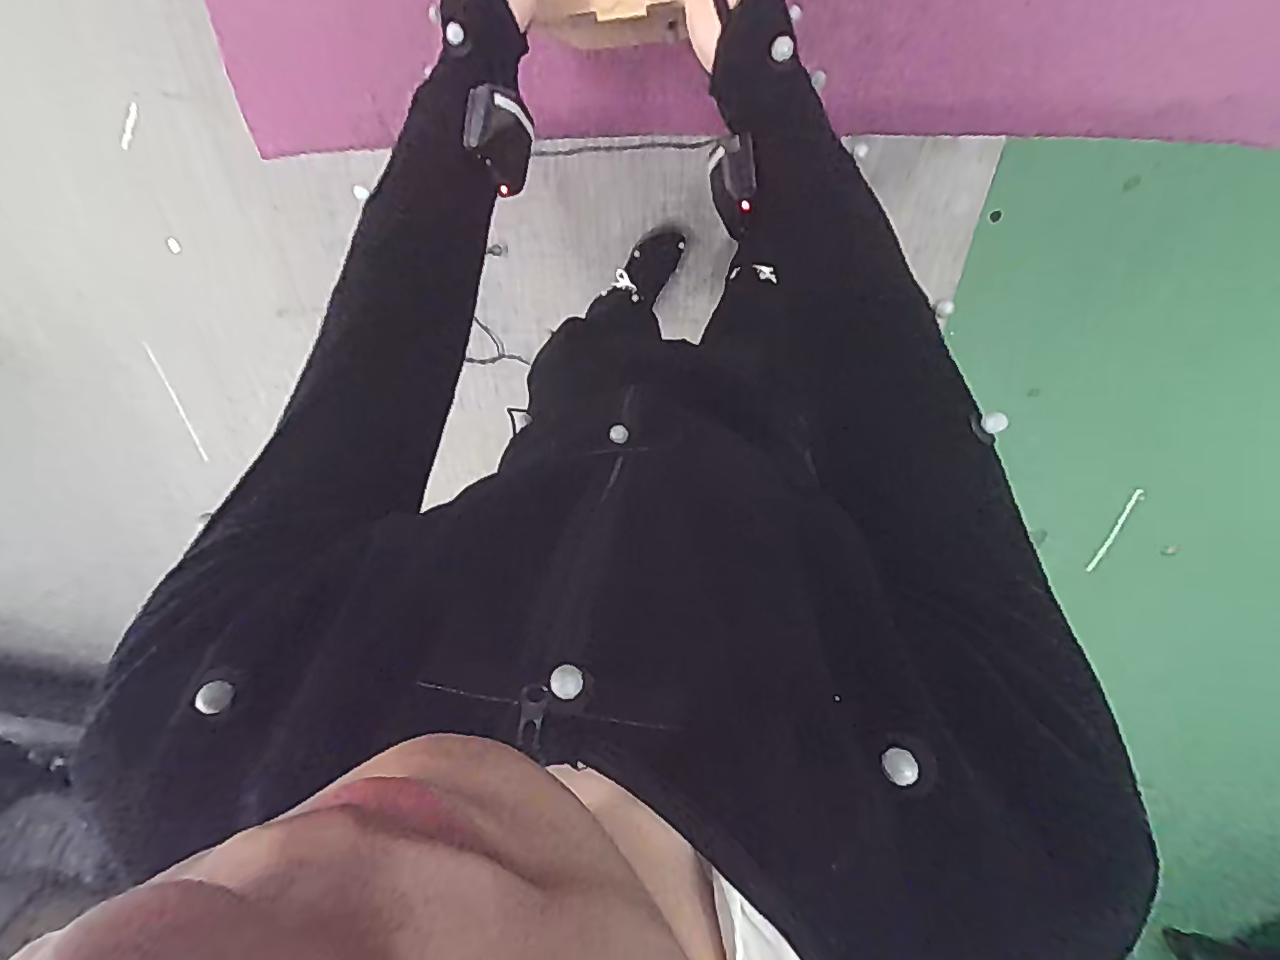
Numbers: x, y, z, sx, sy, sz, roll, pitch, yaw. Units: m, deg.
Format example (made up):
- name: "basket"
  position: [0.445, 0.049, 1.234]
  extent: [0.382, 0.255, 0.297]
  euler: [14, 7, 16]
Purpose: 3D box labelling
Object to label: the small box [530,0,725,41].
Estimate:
- name: "small box"
  position: [-0.008, -0.520, 0.490]
  extent: [0.168, 0.176, 0.179]
  euler: [2, 122, 10]
